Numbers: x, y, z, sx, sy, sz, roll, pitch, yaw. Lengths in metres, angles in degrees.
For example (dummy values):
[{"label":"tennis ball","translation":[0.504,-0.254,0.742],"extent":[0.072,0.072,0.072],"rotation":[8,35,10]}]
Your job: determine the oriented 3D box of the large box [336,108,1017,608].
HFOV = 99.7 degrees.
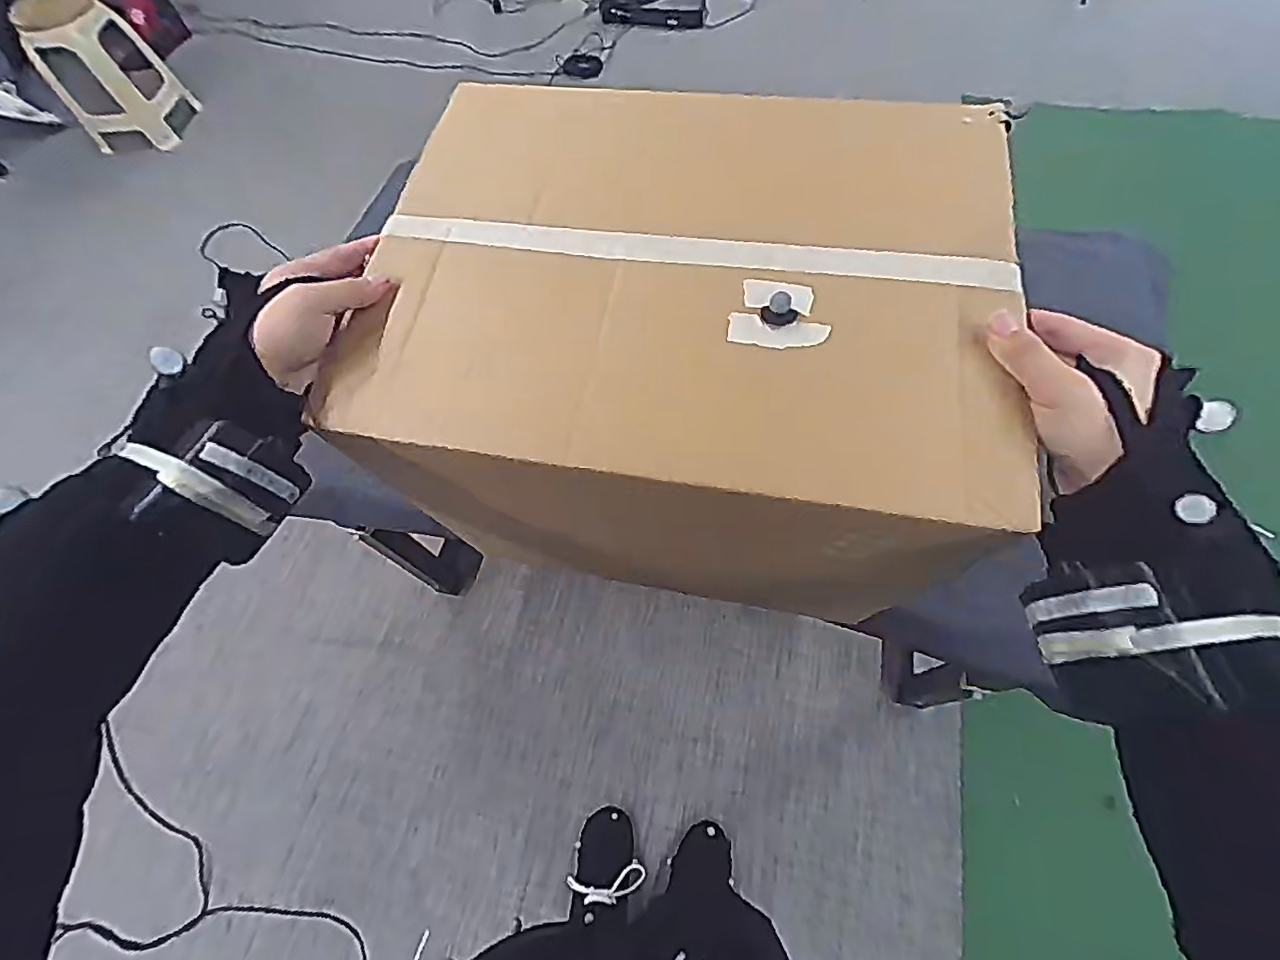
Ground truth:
[{"label":"large box","translation":[0.038,-0.088,0.502],"extent":[0.408,0.320,0.320],"rotation":[8,68,8]}]
